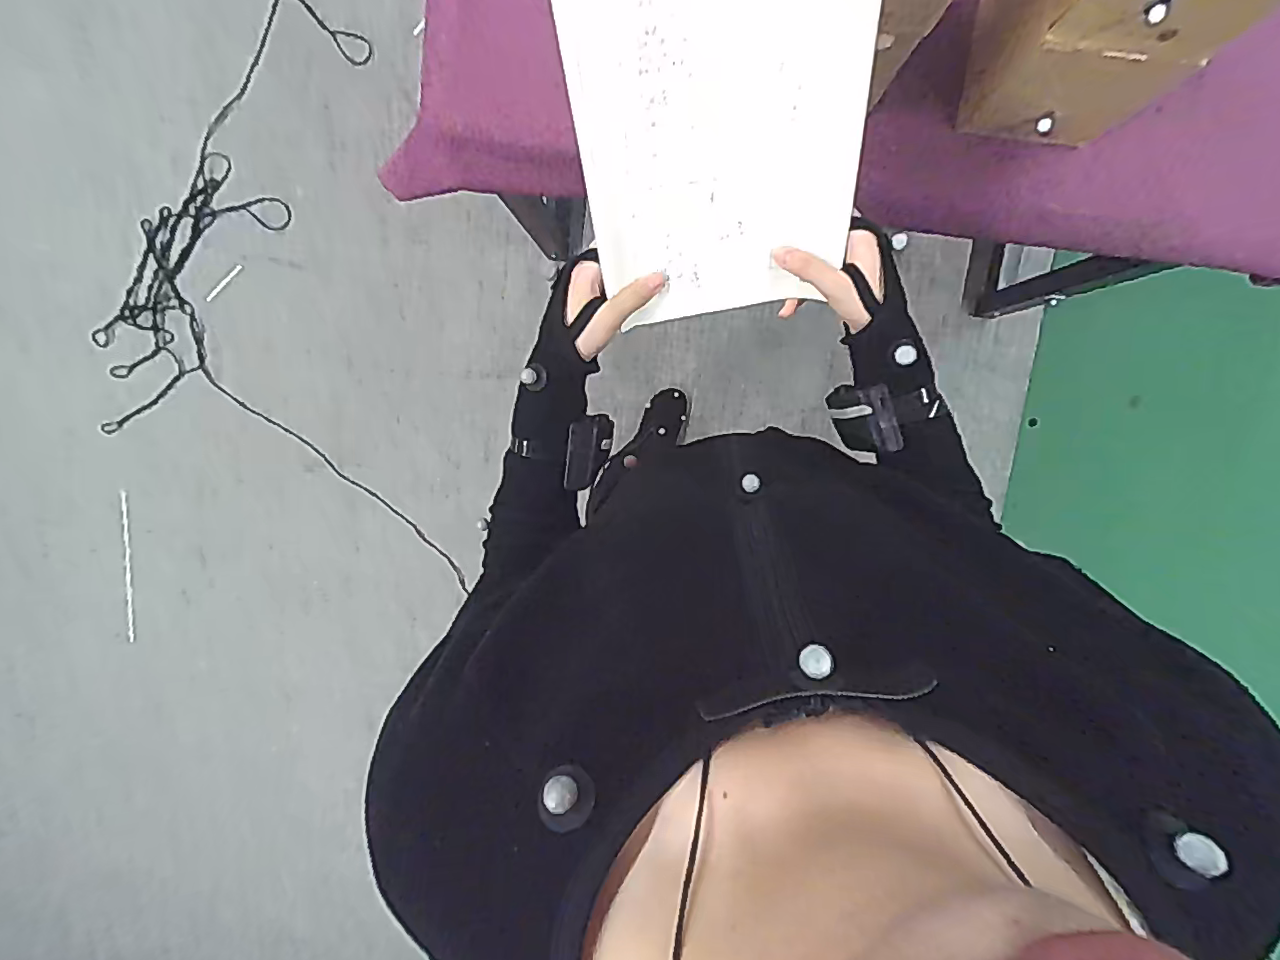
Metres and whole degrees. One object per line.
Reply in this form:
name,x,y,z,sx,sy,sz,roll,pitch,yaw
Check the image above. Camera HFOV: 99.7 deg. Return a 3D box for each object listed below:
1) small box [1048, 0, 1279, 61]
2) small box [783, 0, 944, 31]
small box,0.488,-0.504,0.449,0.168,0.176,0.179,9,97,1
small box,0.217,-0.534,0.458,0.168,0.176,0.179,9,97,2
